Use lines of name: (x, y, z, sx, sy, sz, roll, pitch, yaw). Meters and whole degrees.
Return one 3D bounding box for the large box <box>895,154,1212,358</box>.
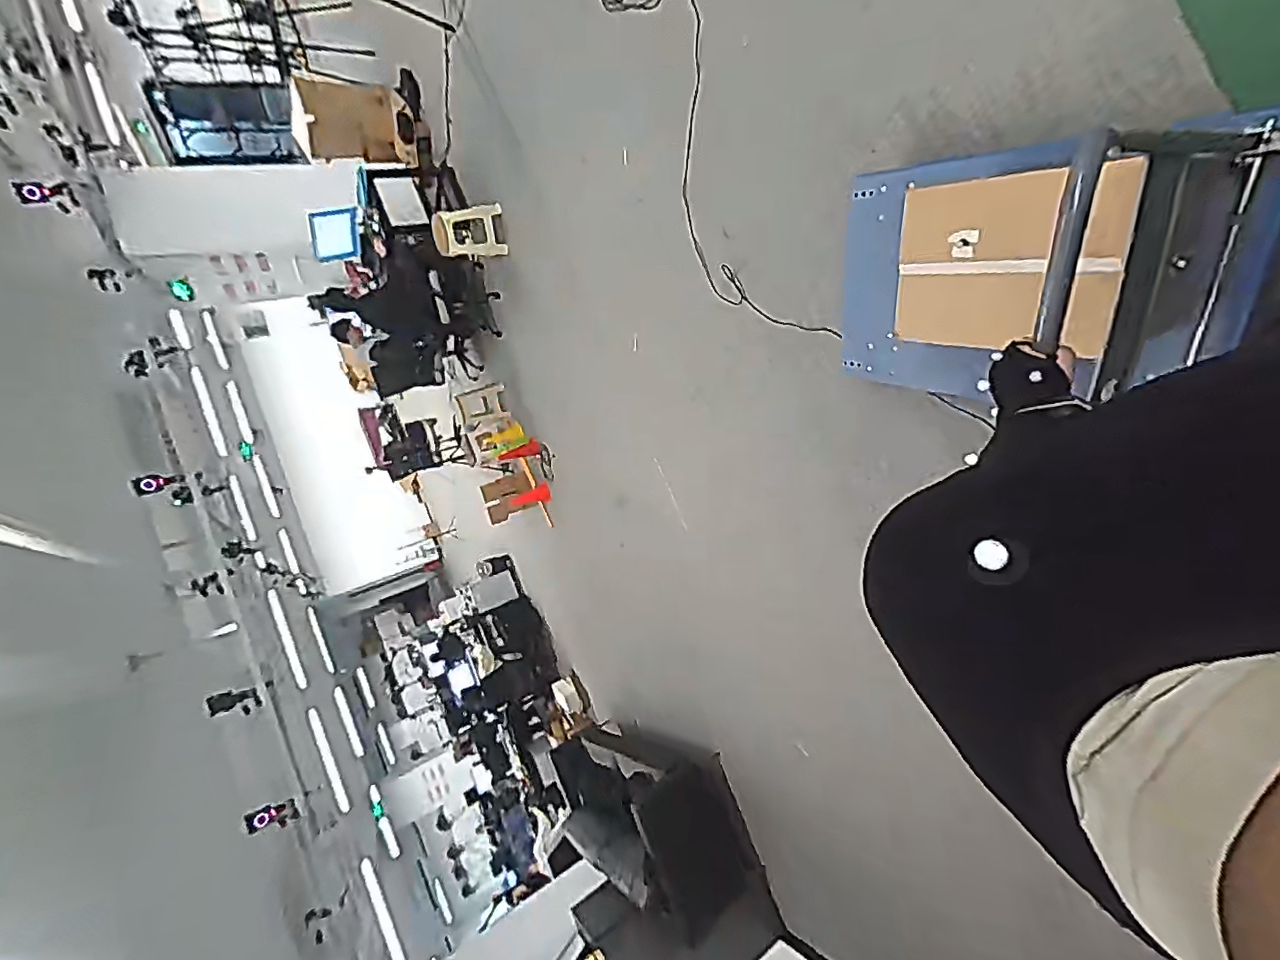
large box: (0.804, -0.448, 1.100, 0.408, 0.320, 0.320, 27, 129, 52)
